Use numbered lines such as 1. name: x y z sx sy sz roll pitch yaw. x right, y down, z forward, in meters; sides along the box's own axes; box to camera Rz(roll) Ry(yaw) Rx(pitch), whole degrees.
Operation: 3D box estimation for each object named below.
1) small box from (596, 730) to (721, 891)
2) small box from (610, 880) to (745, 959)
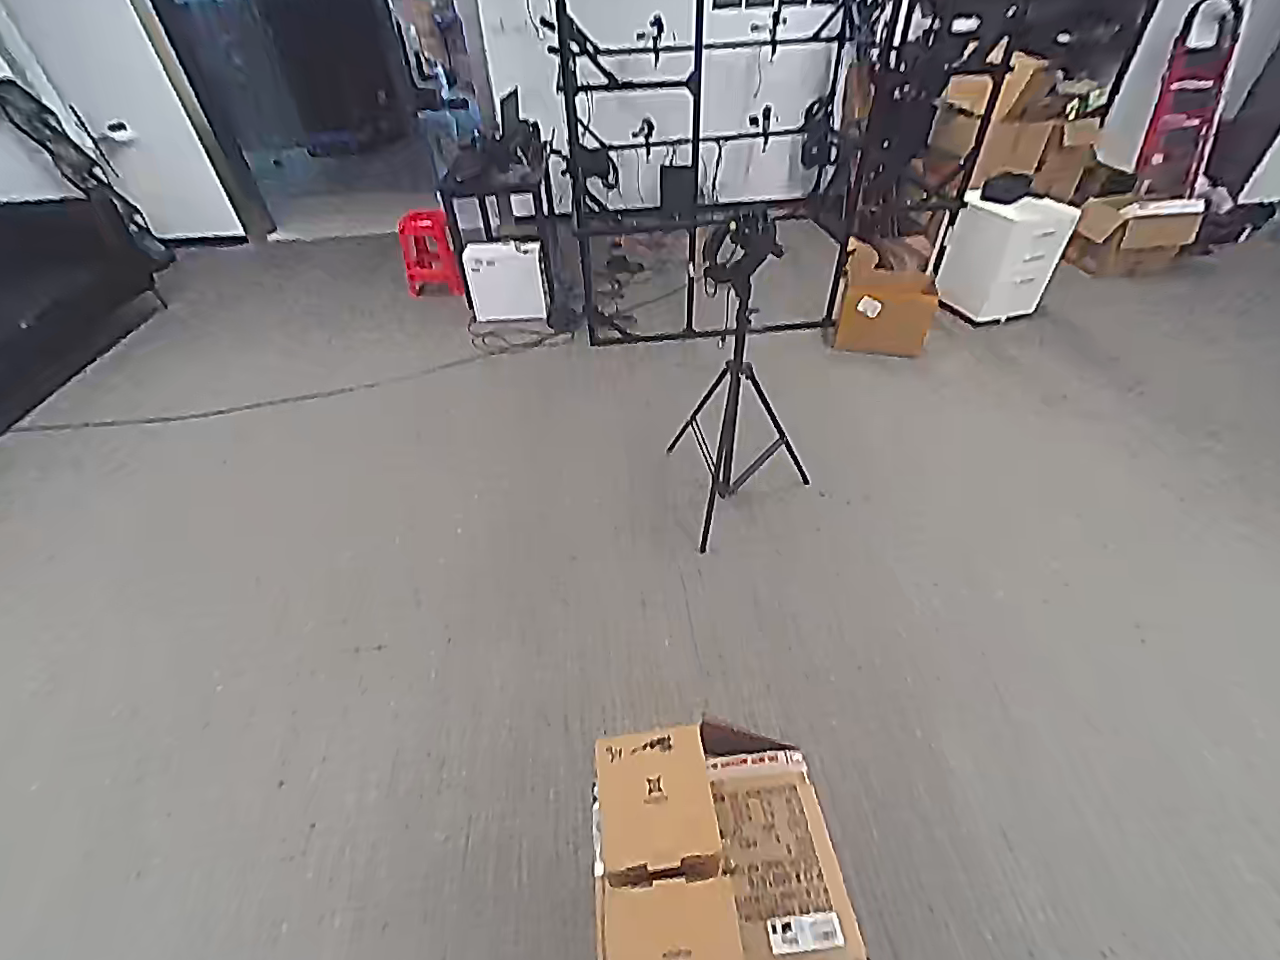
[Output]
1. small box: 0.026 0.517 0.840 0.168 0.176 0.179 -7 46 -3
2. small box: 0.051 0.650 0.702 0.168 0.176 0.179 -6 45 -1
